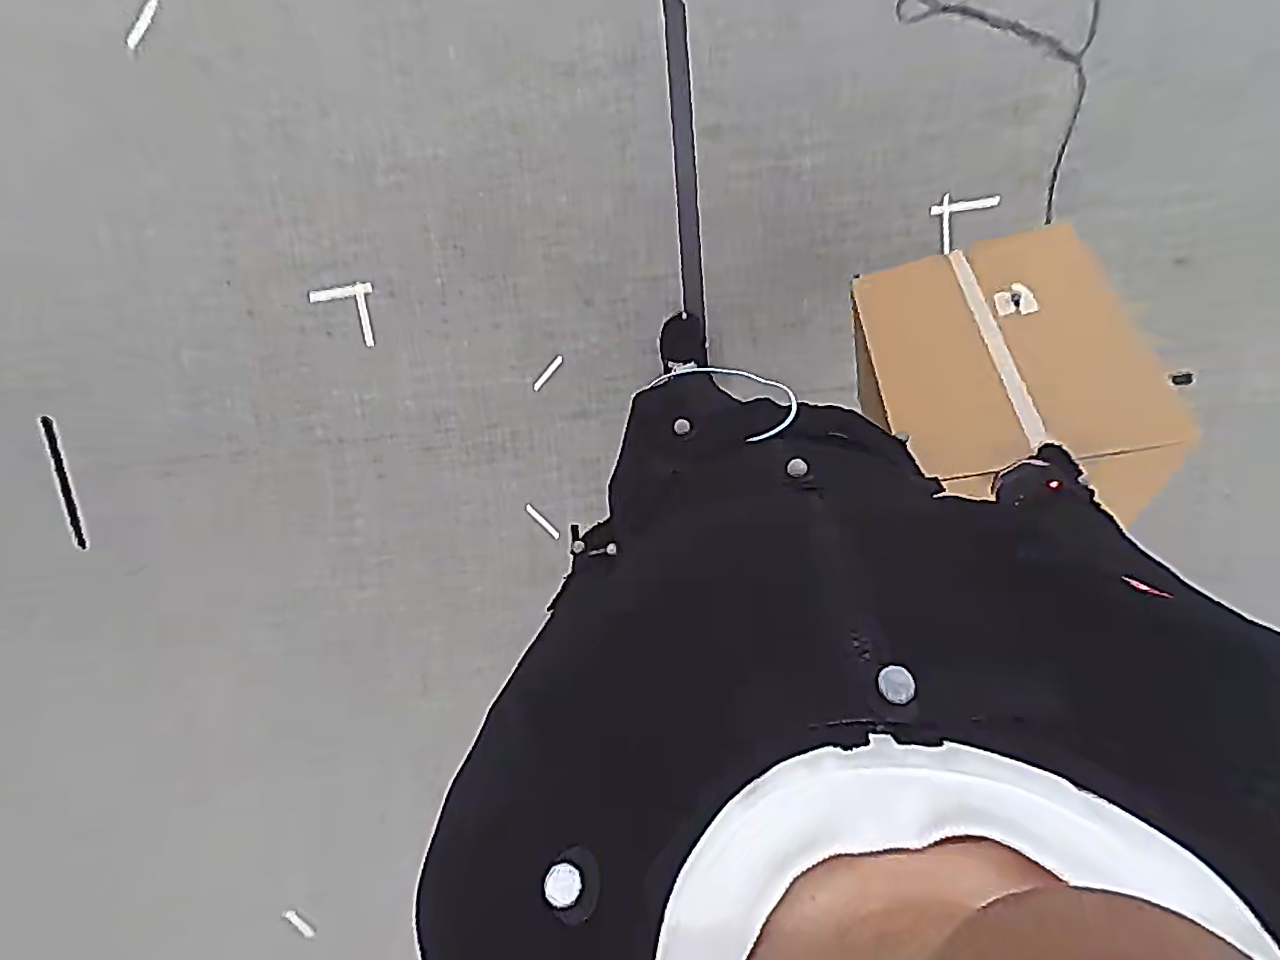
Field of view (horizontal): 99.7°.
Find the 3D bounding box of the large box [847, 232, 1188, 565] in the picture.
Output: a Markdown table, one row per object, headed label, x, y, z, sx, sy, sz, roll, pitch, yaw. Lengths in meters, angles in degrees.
| label | x | y | z | sx | sy | sz | roll | pitch | yaw |
| --- | --- | --- | --- | --- | --- | --- | --- | --- | --- |
| large box | 0.548 | -0.117 | 0.894 | 0.320 | 0.320 | 0.408 | -10 | 56 | 16 |
